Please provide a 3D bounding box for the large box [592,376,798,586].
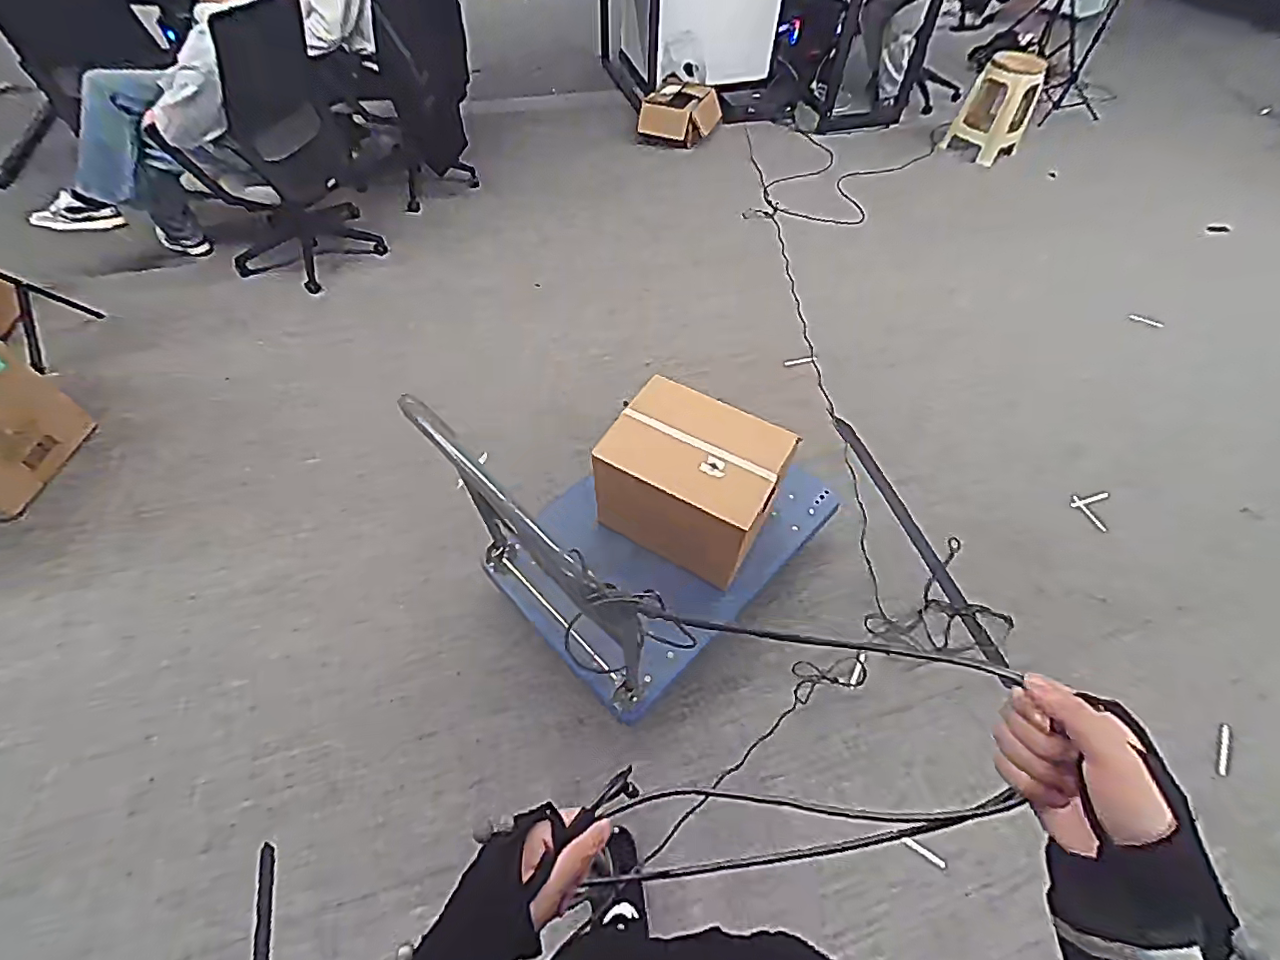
[{"bbox_3d":[0.127,0.003,1.389,0.408,0.320,0.320,27,59,16],"label":"large box"}]
